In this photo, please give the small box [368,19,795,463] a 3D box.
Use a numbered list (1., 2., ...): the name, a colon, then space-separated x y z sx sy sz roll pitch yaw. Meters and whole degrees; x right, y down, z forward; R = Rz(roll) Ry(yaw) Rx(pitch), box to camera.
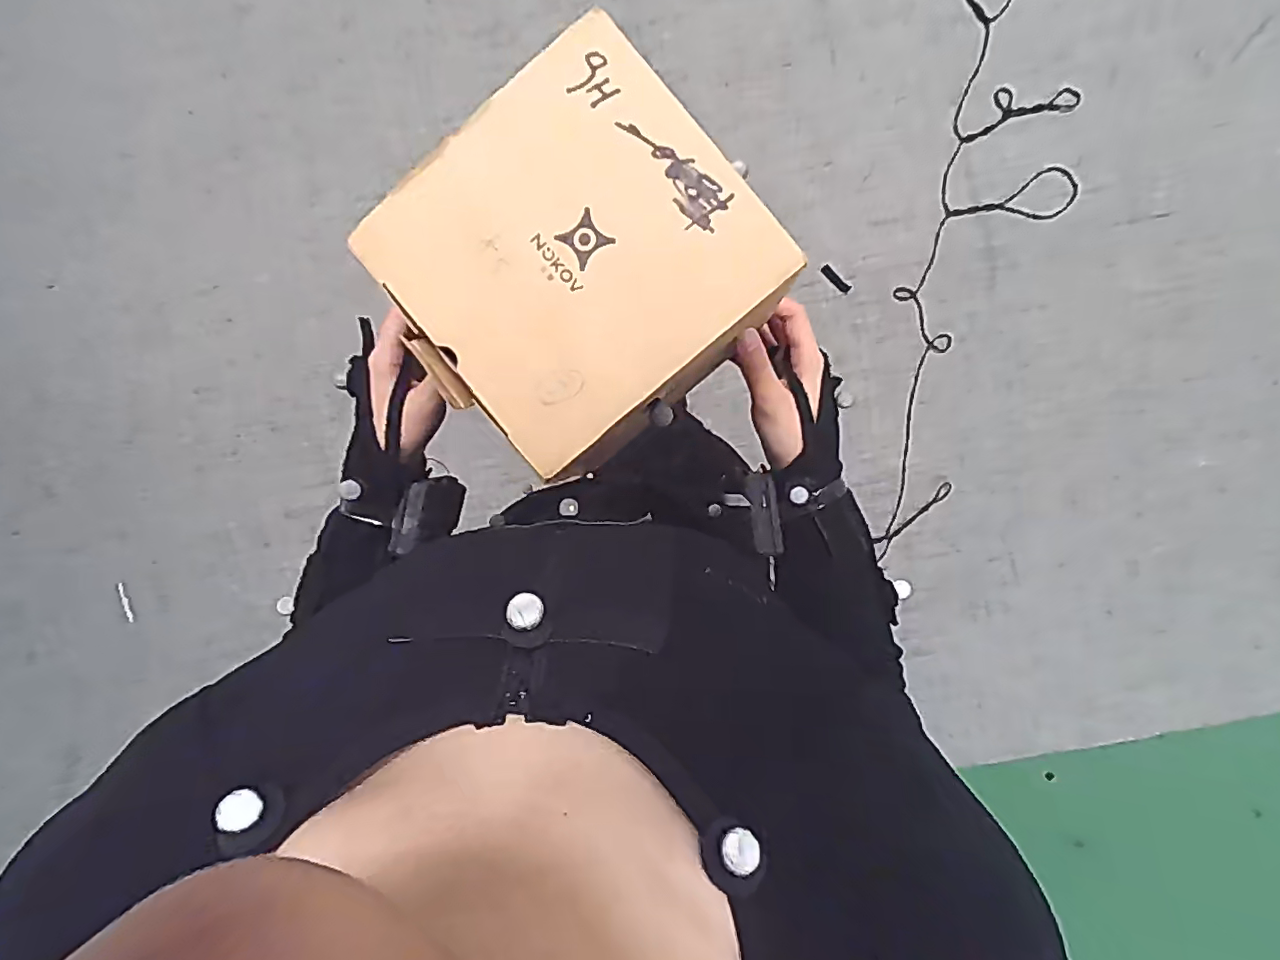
1. small box: -0.028 -0.127 0.366 0.179 0.176 0.168 -40 90 5
